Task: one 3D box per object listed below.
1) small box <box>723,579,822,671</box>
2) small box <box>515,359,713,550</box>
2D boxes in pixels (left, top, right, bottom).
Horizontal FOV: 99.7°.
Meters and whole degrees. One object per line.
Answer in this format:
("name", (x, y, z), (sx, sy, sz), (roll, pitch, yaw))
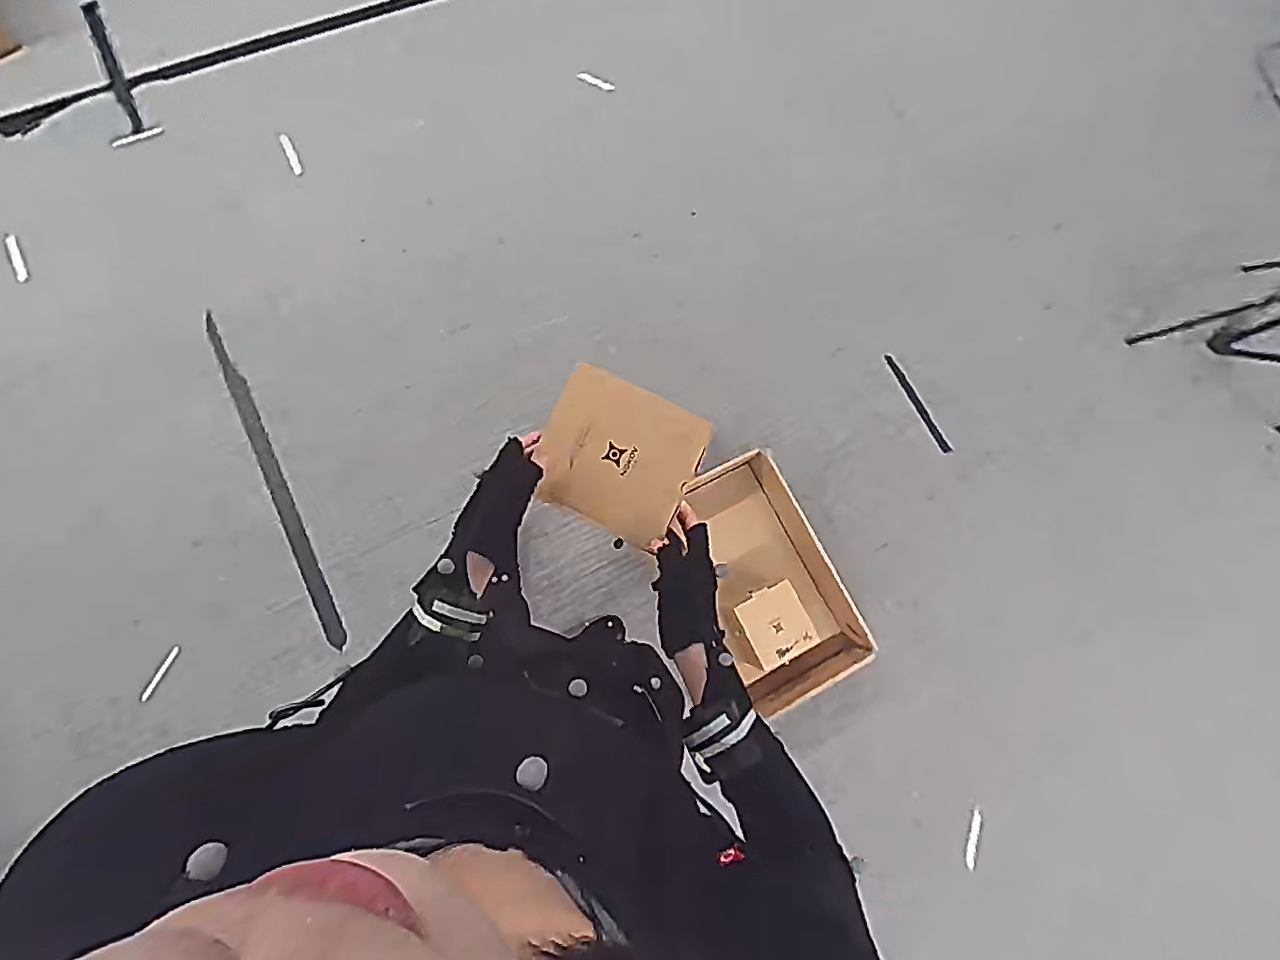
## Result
("small box", (0.337, 0.377, 1.419), (0.168, 0.176, 0.179), (-25, 80, -9))
("small box", (-0.029, -0.025, 0.681), (0.179, 0.176, 0.168), (24, 85, 1))
